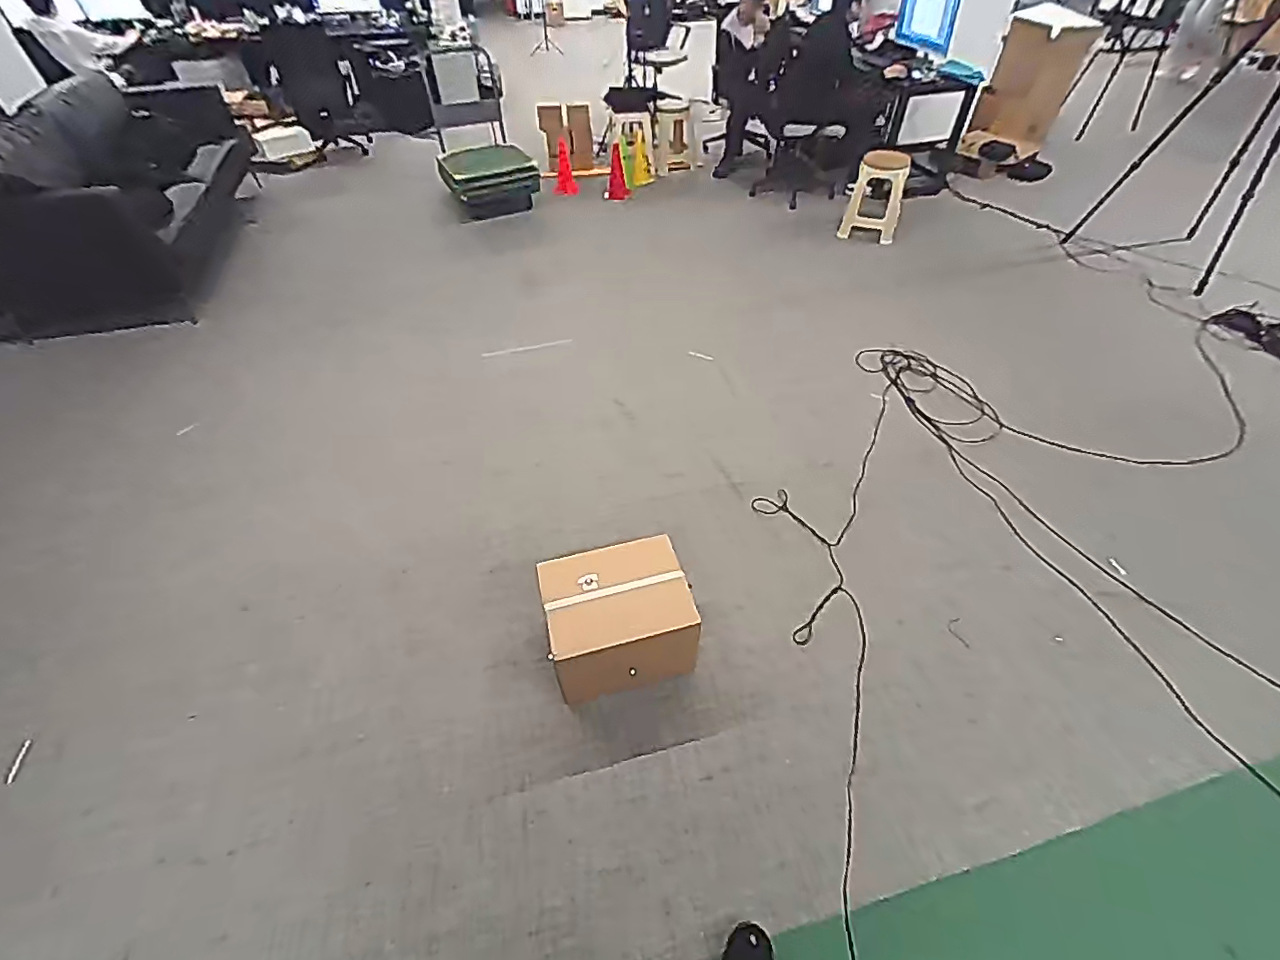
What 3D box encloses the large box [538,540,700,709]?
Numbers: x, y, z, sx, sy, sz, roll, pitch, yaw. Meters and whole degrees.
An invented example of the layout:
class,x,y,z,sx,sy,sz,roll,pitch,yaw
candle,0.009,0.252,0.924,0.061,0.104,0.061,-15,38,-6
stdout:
class,x,y,z,sx,sy,sz,roll,pitch,yaw
large box,-0.062,0.436,1.631,0.408,0.320,0.320,-14,47,-10
